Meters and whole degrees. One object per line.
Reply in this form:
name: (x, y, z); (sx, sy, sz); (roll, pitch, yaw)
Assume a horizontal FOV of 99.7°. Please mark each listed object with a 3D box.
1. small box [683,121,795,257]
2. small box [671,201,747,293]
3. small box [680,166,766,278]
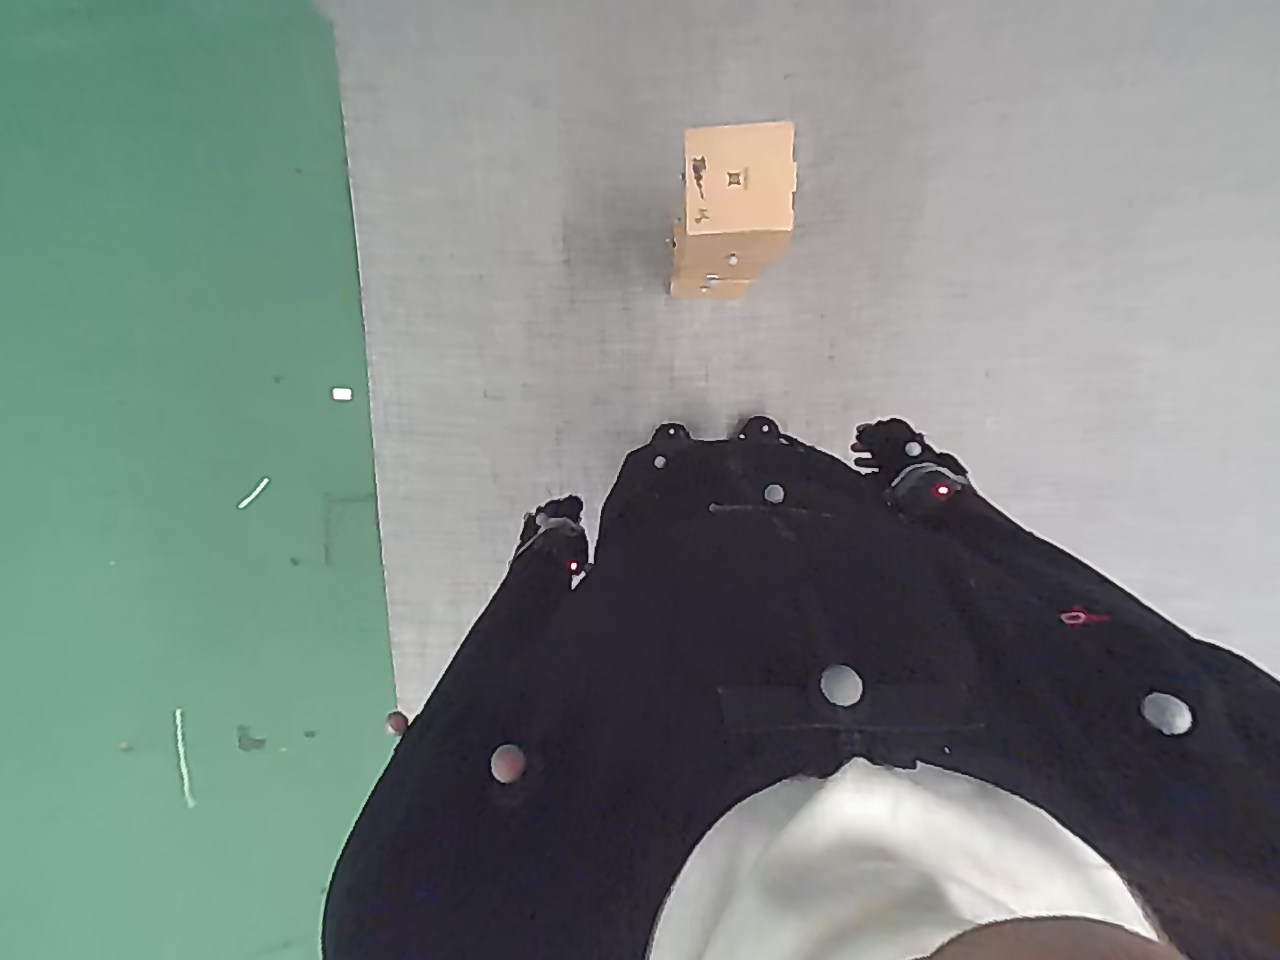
small box: (0.166, -0.503, 0.955); (0.179, 0.176, 0.168); (-1, 97, 4)
small box: (0.162, -0.544, 1.278); (0.179, 0.176, 0.168); (1, 98, 2)
small box: (0.167, -0.528, 1.117); (0.168, 0.176, 0.179); (-1, 98, 4)
